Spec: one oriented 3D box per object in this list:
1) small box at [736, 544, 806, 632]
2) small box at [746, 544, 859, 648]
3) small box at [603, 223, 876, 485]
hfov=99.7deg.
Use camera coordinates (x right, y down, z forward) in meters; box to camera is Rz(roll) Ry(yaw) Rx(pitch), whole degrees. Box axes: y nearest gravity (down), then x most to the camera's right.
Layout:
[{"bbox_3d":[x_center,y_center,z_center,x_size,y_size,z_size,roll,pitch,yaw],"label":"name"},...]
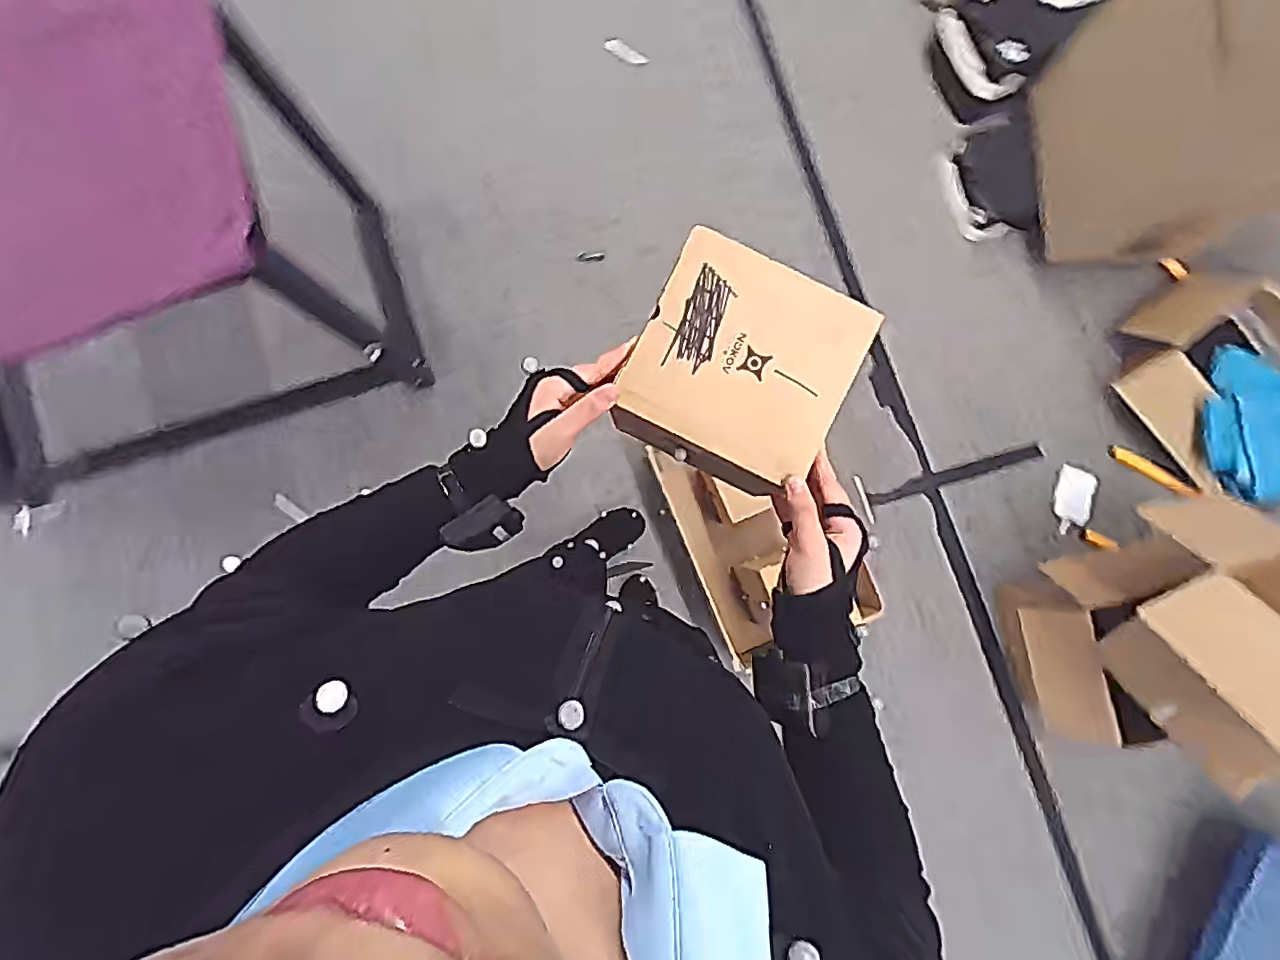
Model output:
[{"bbox_3d":[0.355,0.269,1.370,0.179,0.176,0.168,-20,85,-4],"label":"small box"},{"bbox_3d":[0.354,0.250,1.208,0.168,0.176,0.179,-20,84,-3],"label":"small box"},{"bbox_3d":[0.080,-0.099,0.519,0.179,0.176,0.168,26,88,0],"label":"small box"}]
